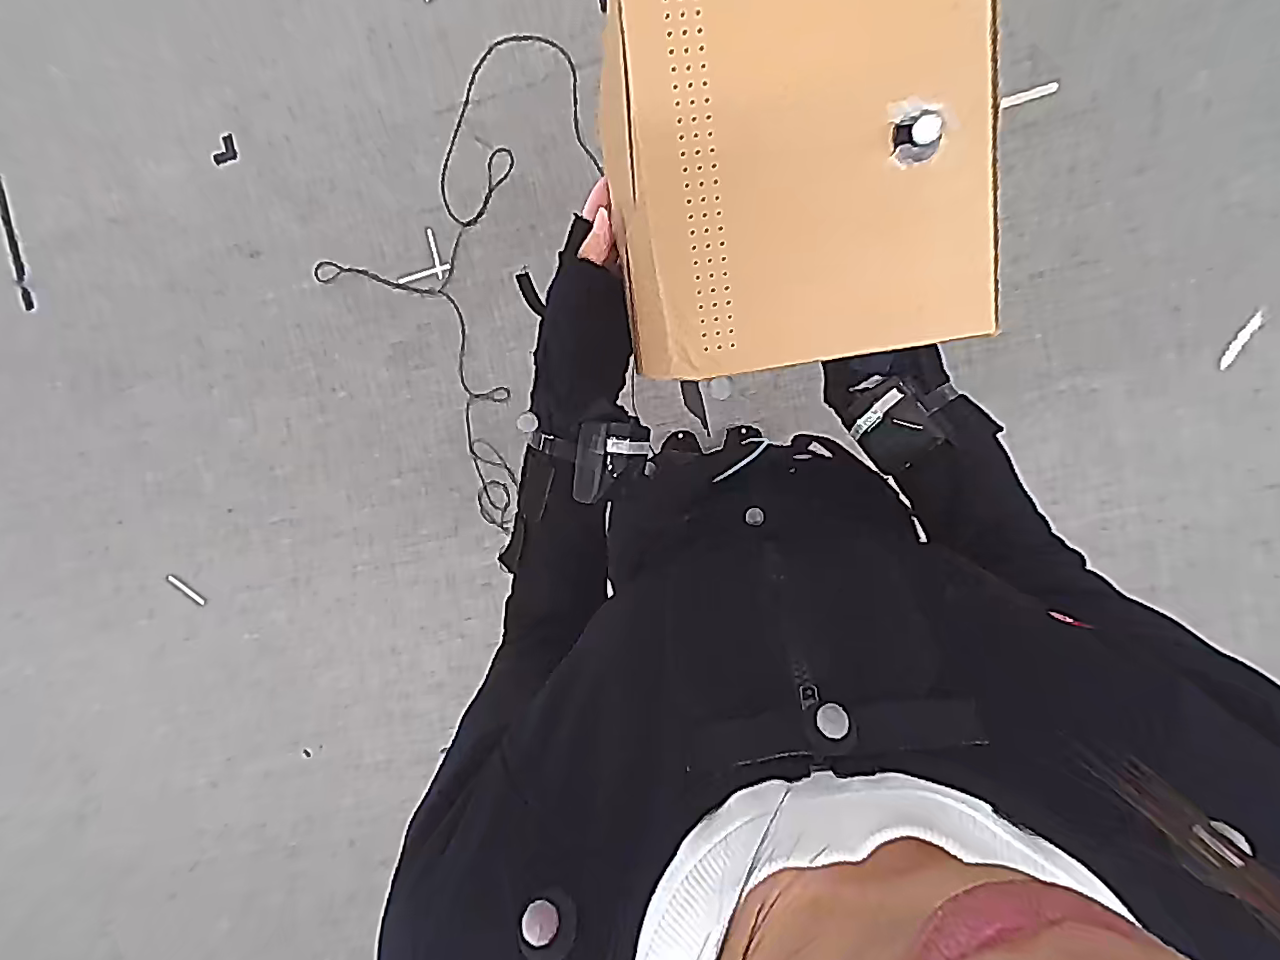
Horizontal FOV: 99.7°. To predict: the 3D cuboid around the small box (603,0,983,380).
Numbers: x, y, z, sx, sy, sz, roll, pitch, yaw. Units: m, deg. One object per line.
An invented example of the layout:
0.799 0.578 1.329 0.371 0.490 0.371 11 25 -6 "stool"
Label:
0.070 -0.163 0.329 0.176 0.168 0.179 -10 103 -4 "small box"
